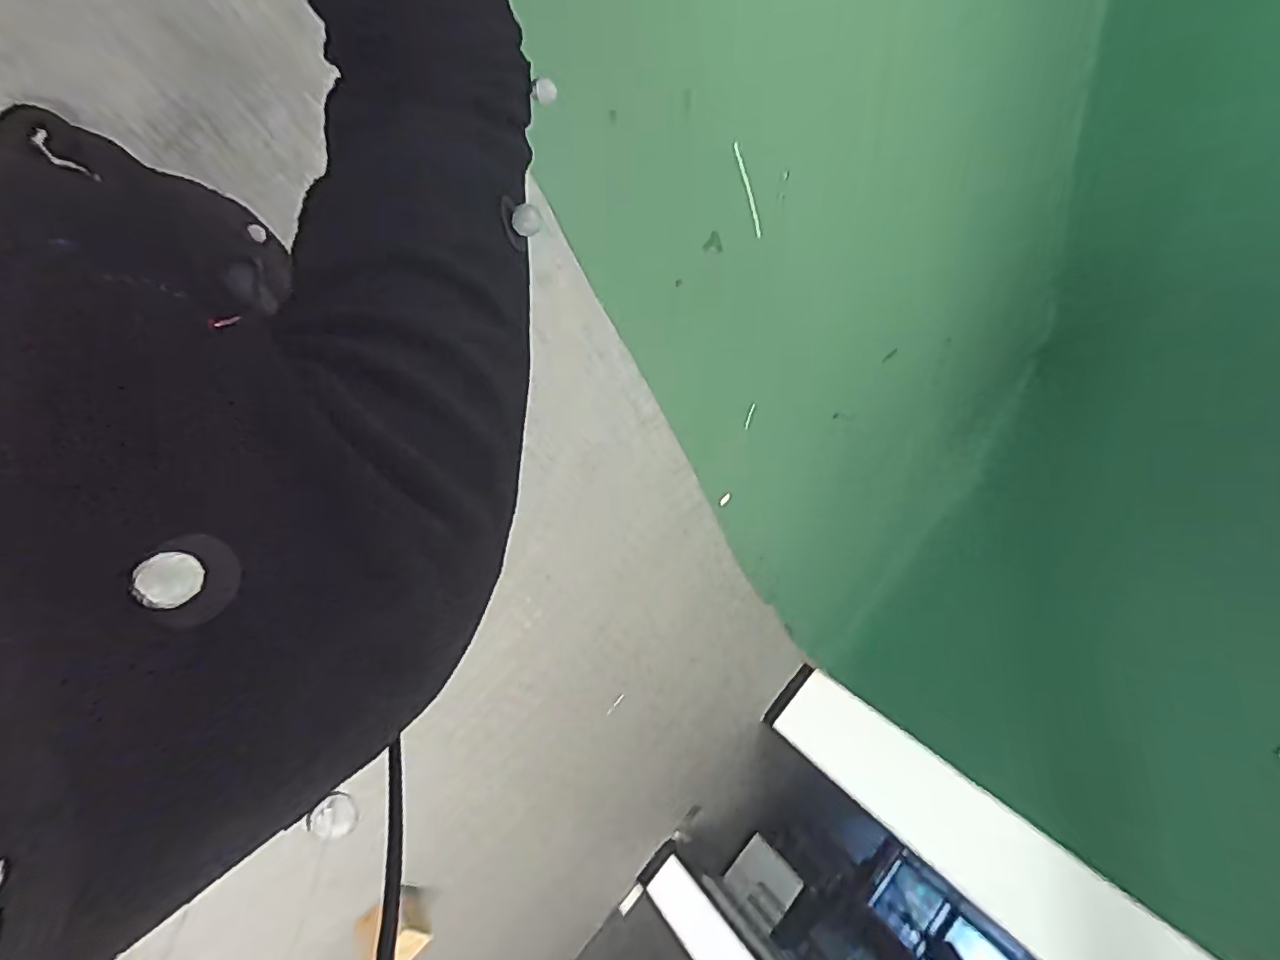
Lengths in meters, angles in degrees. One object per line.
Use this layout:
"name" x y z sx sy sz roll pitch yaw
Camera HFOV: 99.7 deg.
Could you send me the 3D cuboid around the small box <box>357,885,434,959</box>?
"small box" -0.892 1.619 1.961 0.168 0.176 0.179 -40 134 -16
